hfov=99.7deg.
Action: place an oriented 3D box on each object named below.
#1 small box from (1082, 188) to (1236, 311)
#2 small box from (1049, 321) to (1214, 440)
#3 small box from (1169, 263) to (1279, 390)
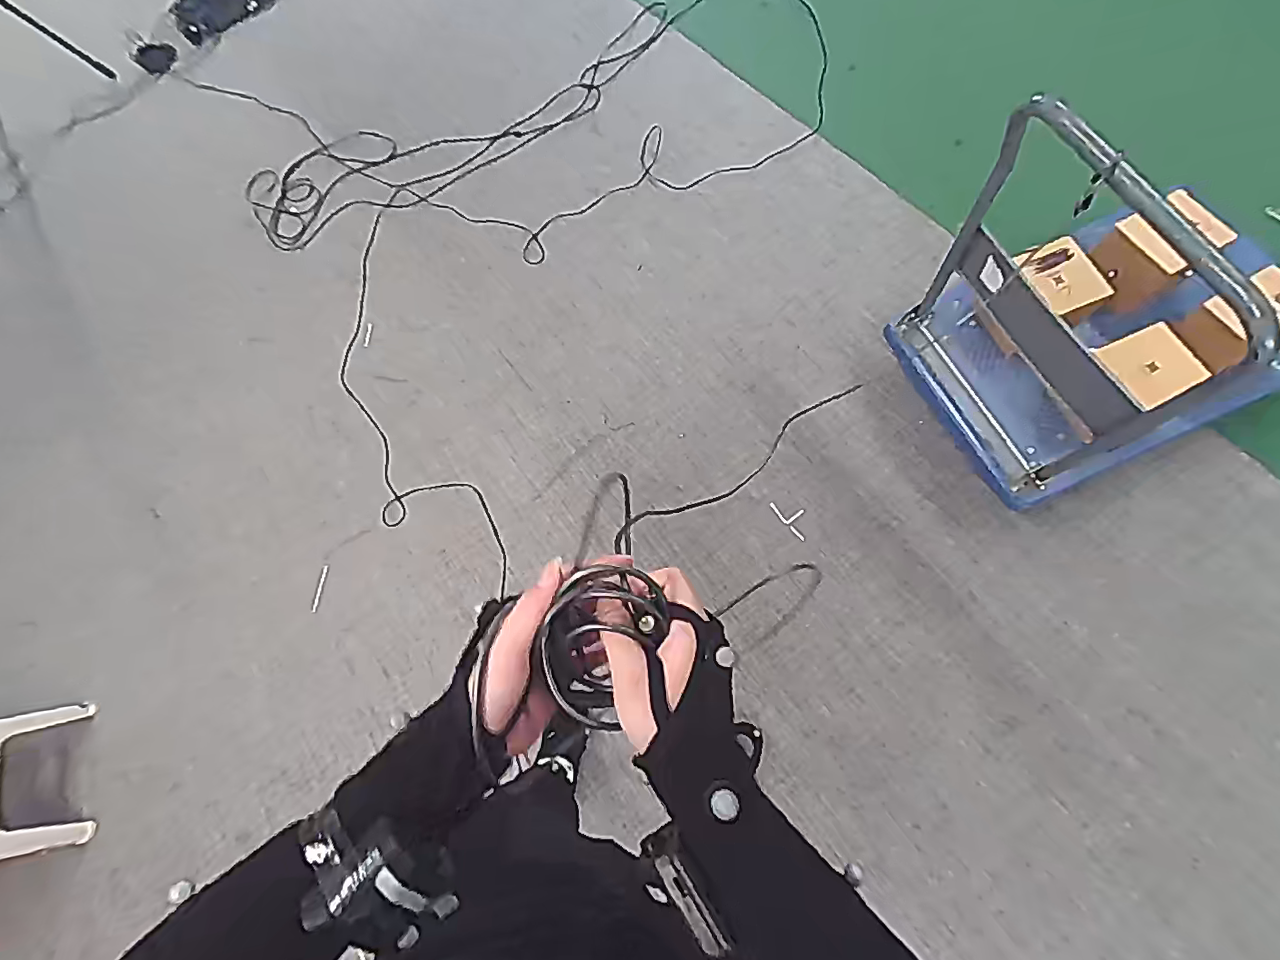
[{"bbox_3d":[1.209,-0.539,1.285,0.179,0.176,0.168,-29,71,0],"label":"small box"},{"bbox_3d":[1.081,-0.215,1.208,0.179,0.176,0.168,-25,71,2],"label":"small box"},{"bbox_3d":[1.325,-0.332,1.200,0.179,0.176,0.168,-29,70,1],"label":"small box"}]
